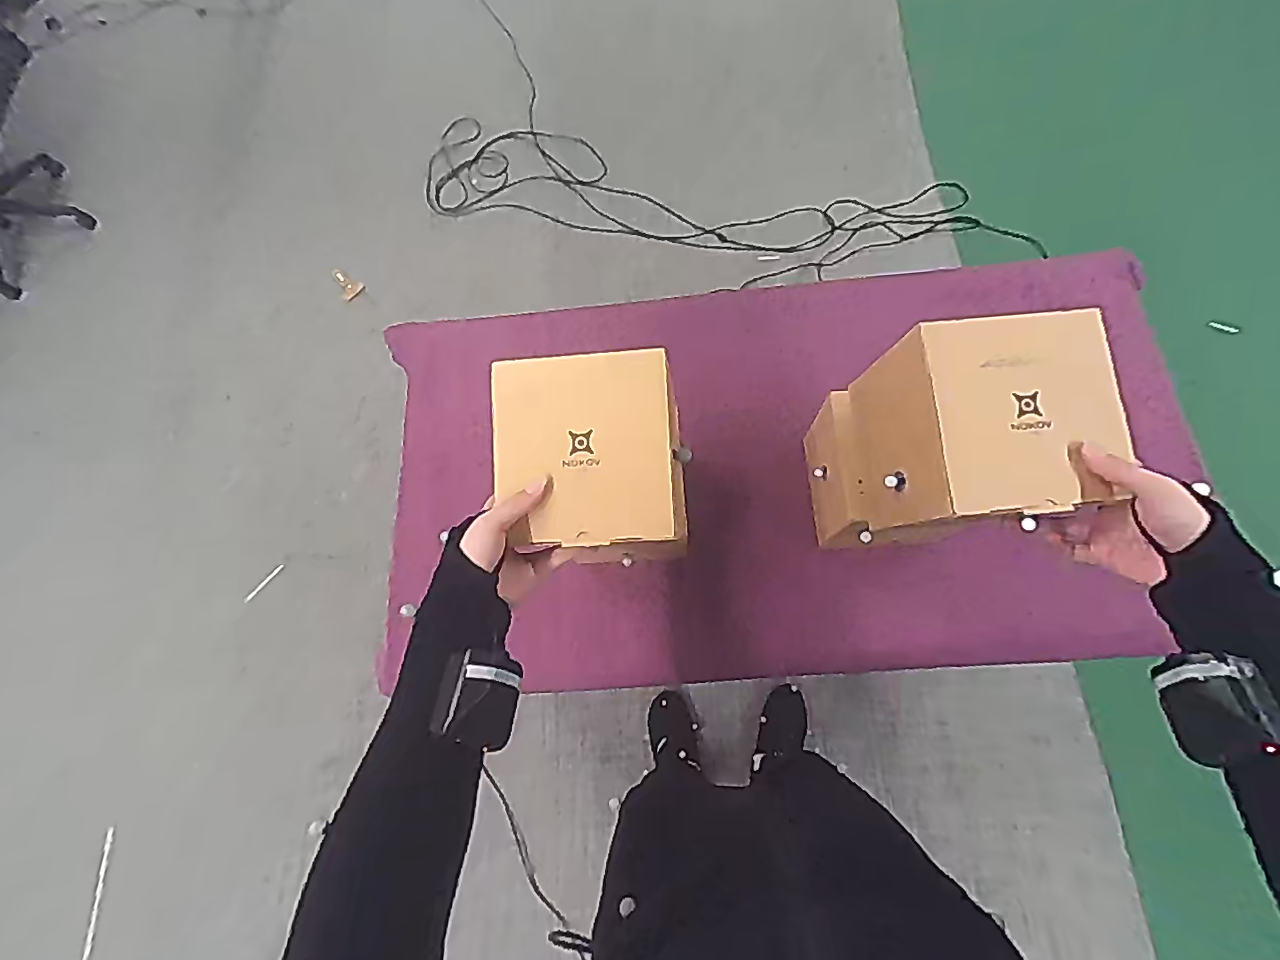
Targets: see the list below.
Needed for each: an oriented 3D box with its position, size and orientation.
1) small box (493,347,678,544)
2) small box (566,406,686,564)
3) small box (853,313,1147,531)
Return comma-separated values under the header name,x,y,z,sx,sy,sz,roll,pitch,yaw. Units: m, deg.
name,x,y,z,sx,sy,sz,roll,pitch,yaw
small box,-0.045,-0.024,0.563,0.168,0.176,0.179,-3,85,5
small box,-0.023,0.014,0.749,0.168,0.176,0.179,-3,72,4
small box,0.331,-0.043,0.537,0.168,0.176,0.179,-4,79,-1
